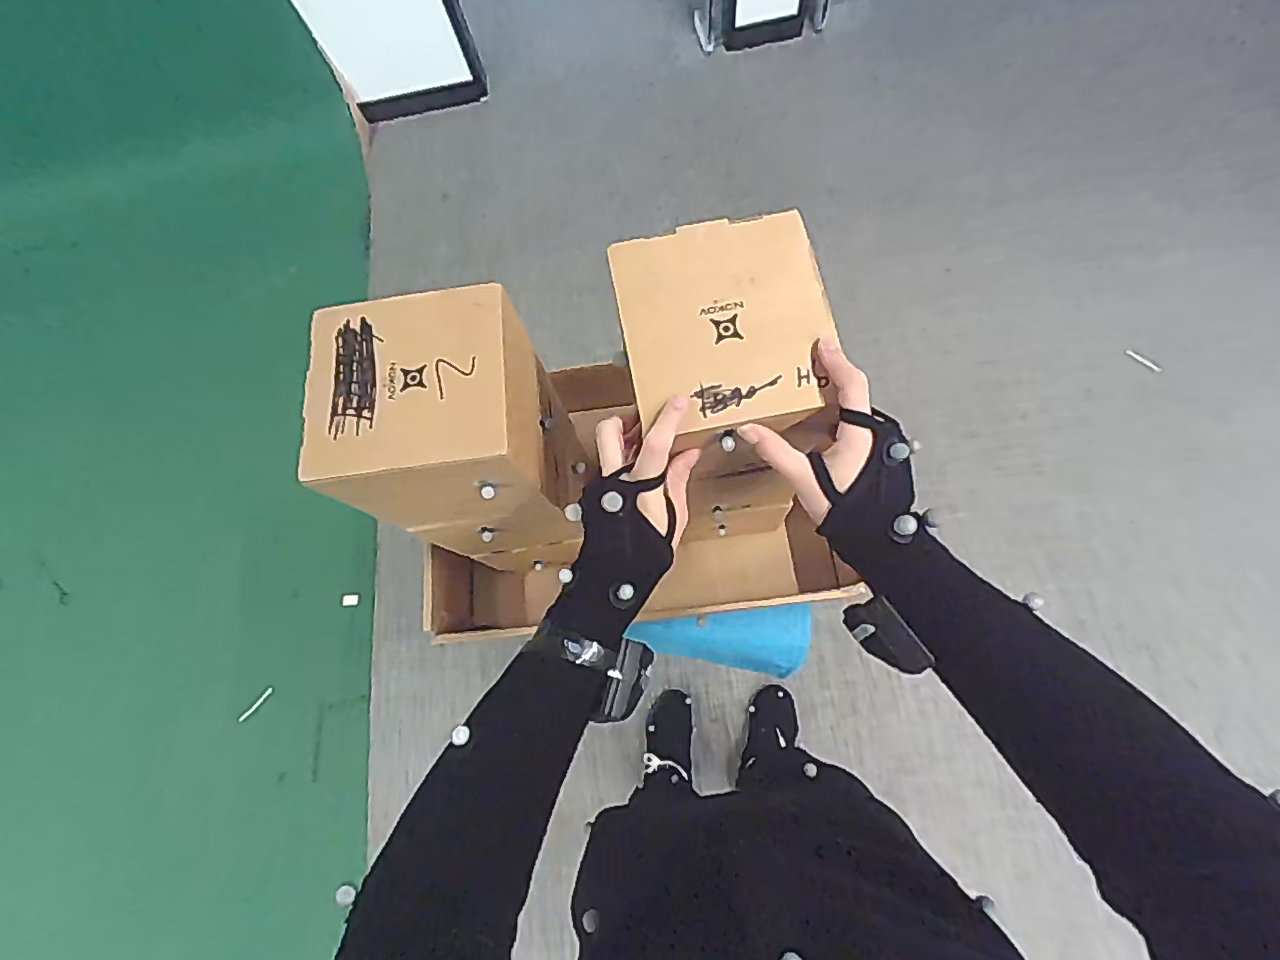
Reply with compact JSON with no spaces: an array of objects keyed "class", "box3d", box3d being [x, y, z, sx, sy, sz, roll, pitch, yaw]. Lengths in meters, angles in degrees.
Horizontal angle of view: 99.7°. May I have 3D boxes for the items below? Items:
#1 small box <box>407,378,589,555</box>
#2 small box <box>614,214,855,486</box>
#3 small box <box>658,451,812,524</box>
[{"class":"small box","box3d":[-0.171,-0.007,0.688,0.179,0.176,0.168,-9,72,2]},{"class":"small box","box3d":[0.073,-0.108,0.507,0.168,0.176,0.179,-10,76,1]},{"class":"small box","box3d":[0.100,-0.057,0.673,0.168,0.176,0.179,-10,72,5]}]
